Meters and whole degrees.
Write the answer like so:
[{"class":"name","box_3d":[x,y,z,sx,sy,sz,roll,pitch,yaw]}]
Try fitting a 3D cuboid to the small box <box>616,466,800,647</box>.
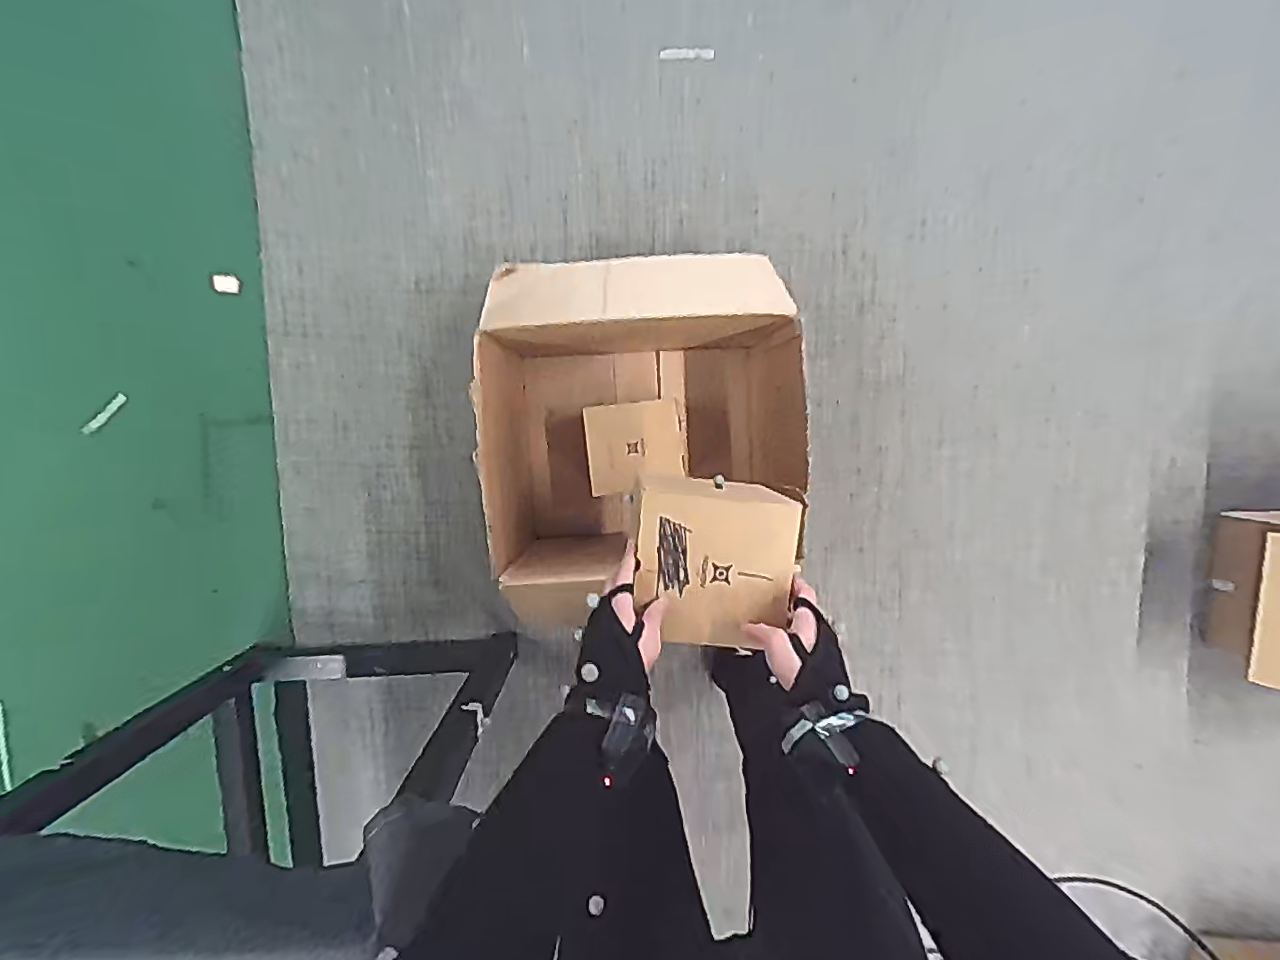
[{"class":"small box","box_3d":[0.071,0.081,0.661,0.179,0.176,0.168,10,98,-3]}]
